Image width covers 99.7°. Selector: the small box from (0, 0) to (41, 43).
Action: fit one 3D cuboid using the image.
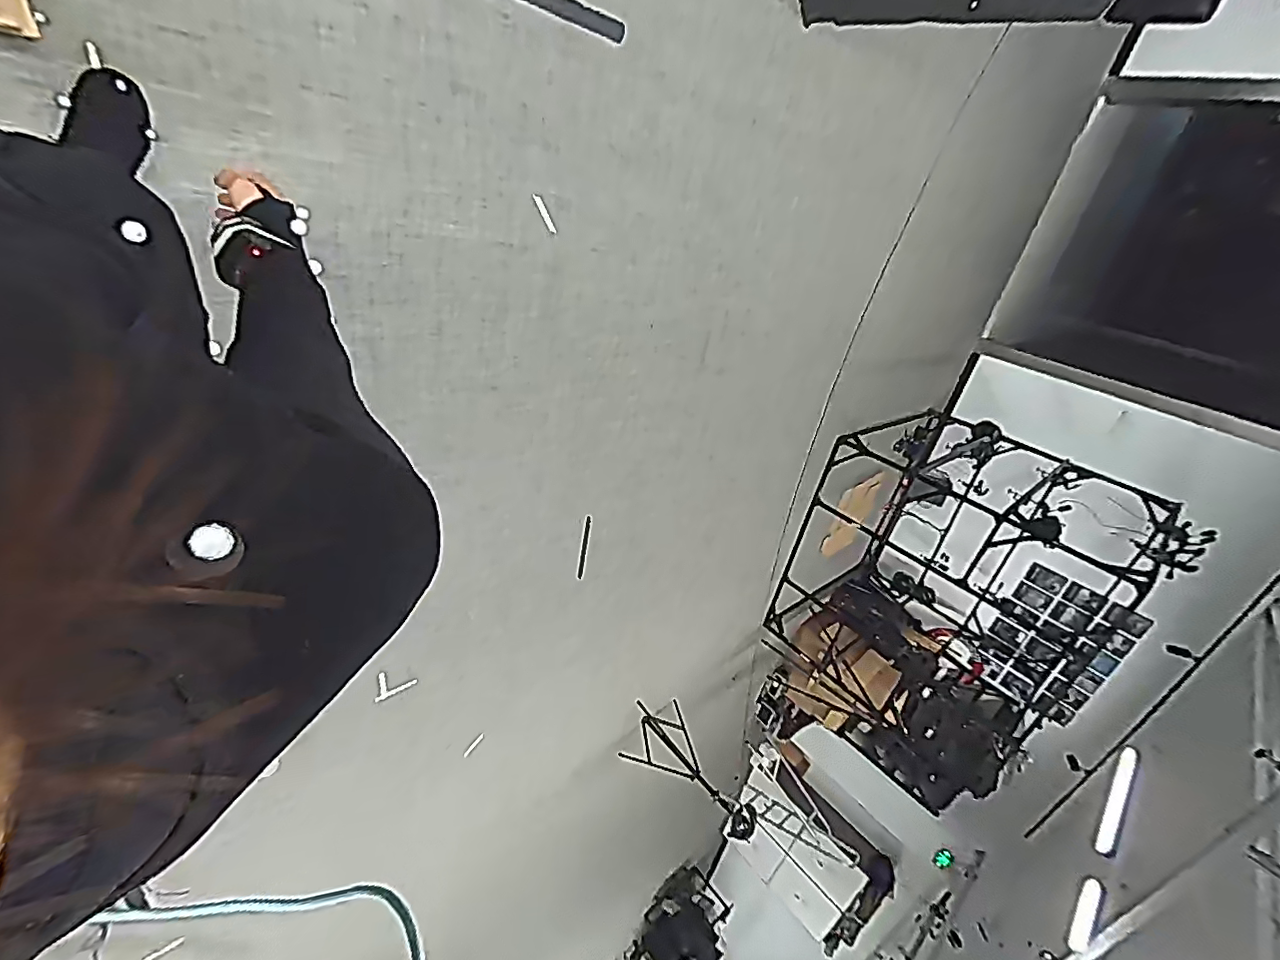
[{"bbox_3d":[-1.049,-0.783,0.808,0.179,0.176,0.168,-16,129,-40],"label":"small box"}]
